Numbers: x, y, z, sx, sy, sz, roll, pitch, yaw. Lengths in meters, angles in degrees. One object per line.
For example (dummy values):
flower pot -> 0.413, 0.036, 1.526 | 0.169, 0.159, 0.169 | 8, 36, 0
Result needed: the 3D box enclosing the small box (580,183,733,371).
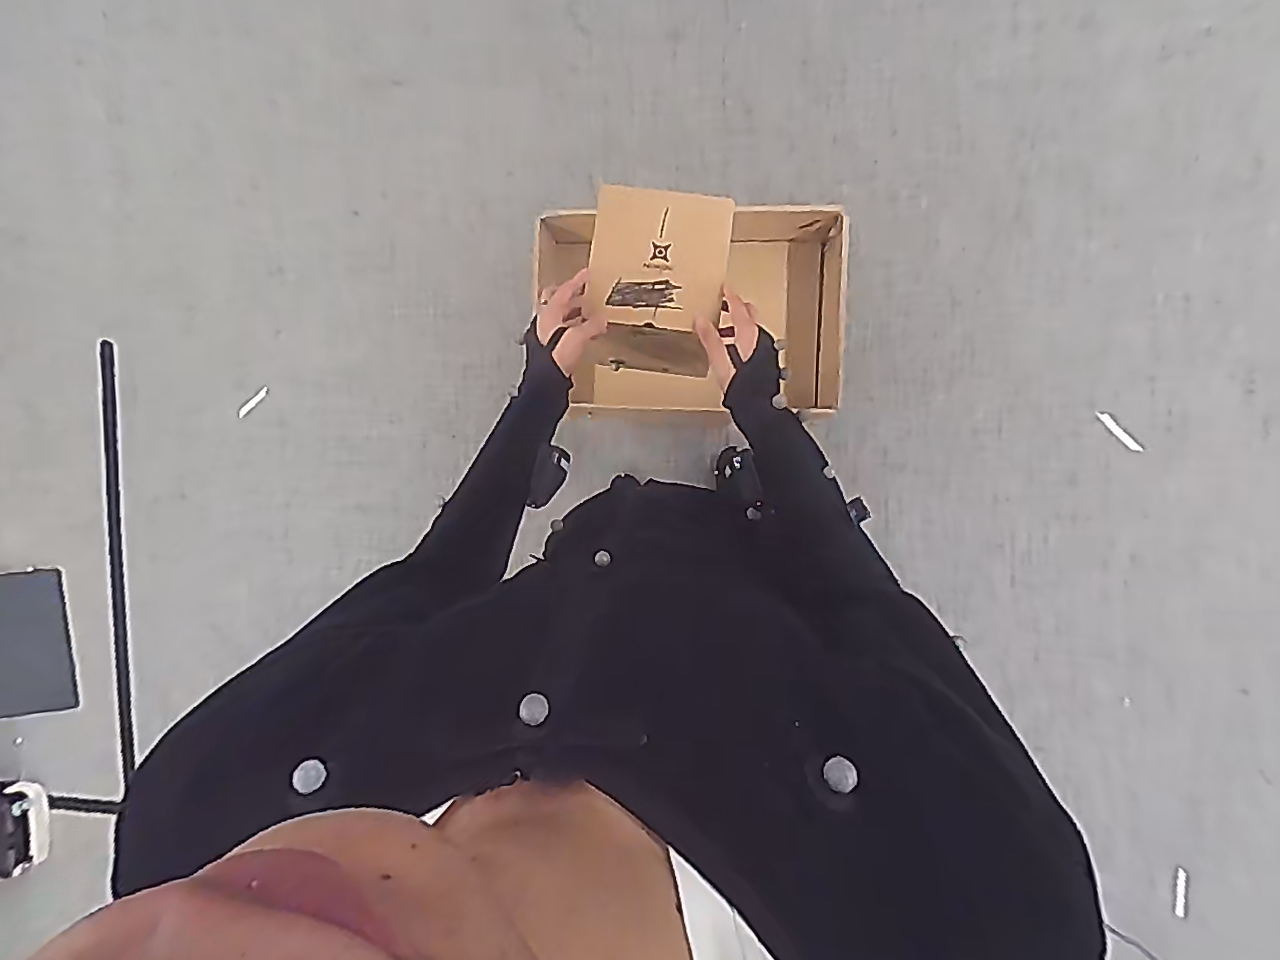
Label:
small box -> 0.024, -0.257, 0.721 | 0.168, 0.176, 0.179 | 7, 84, 3
